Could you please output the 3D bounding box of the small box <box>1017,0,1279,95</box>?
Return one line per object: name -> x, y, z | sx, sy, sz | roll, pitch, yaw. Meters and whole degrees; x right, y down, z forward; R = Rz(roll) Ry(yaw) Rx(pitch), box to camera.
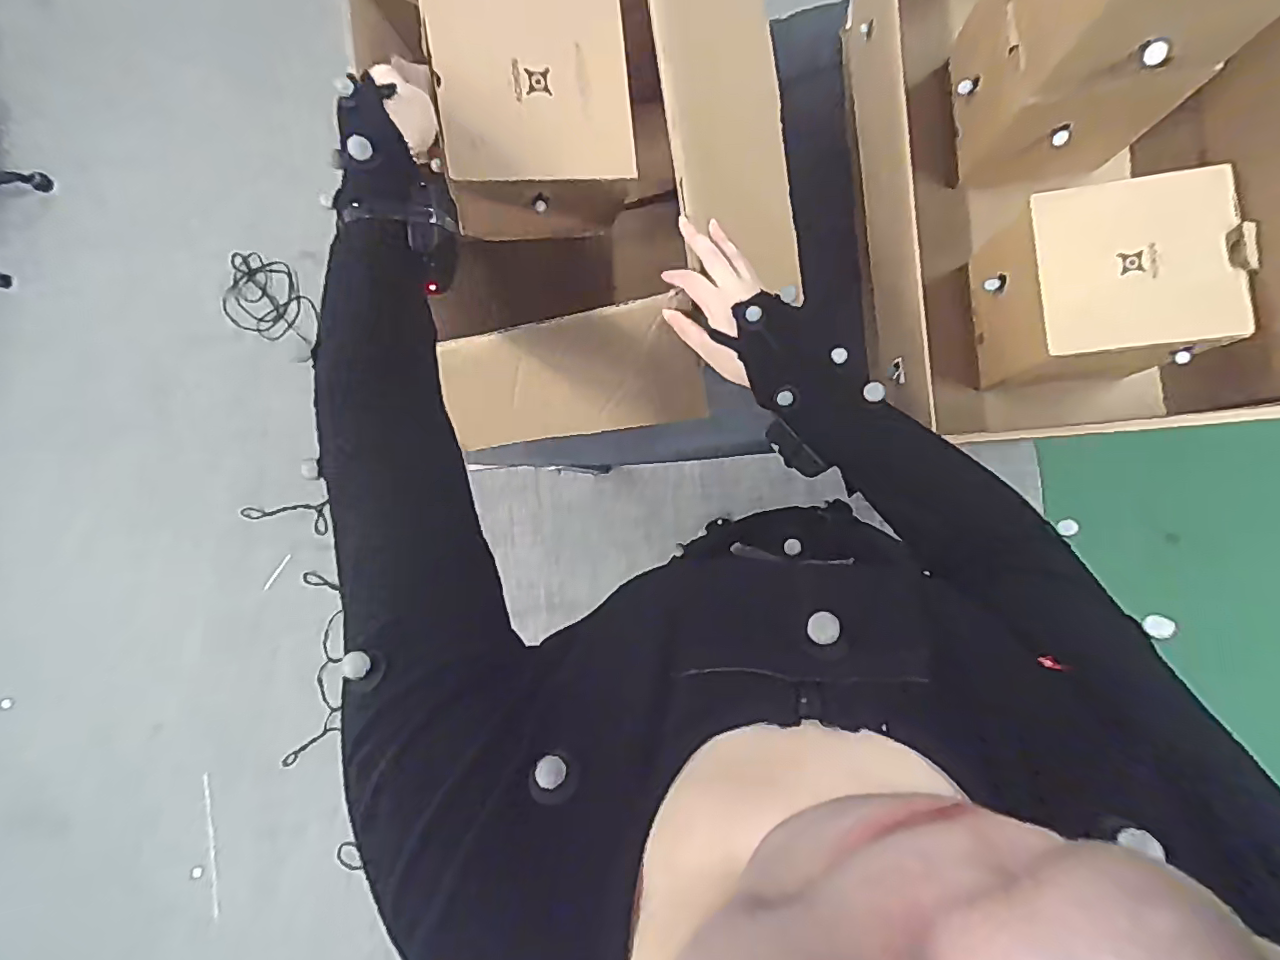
small box -> 0.442, -0.471, 0.448 | 0.168, 0.176, 0.179 | -4, 91, 8
